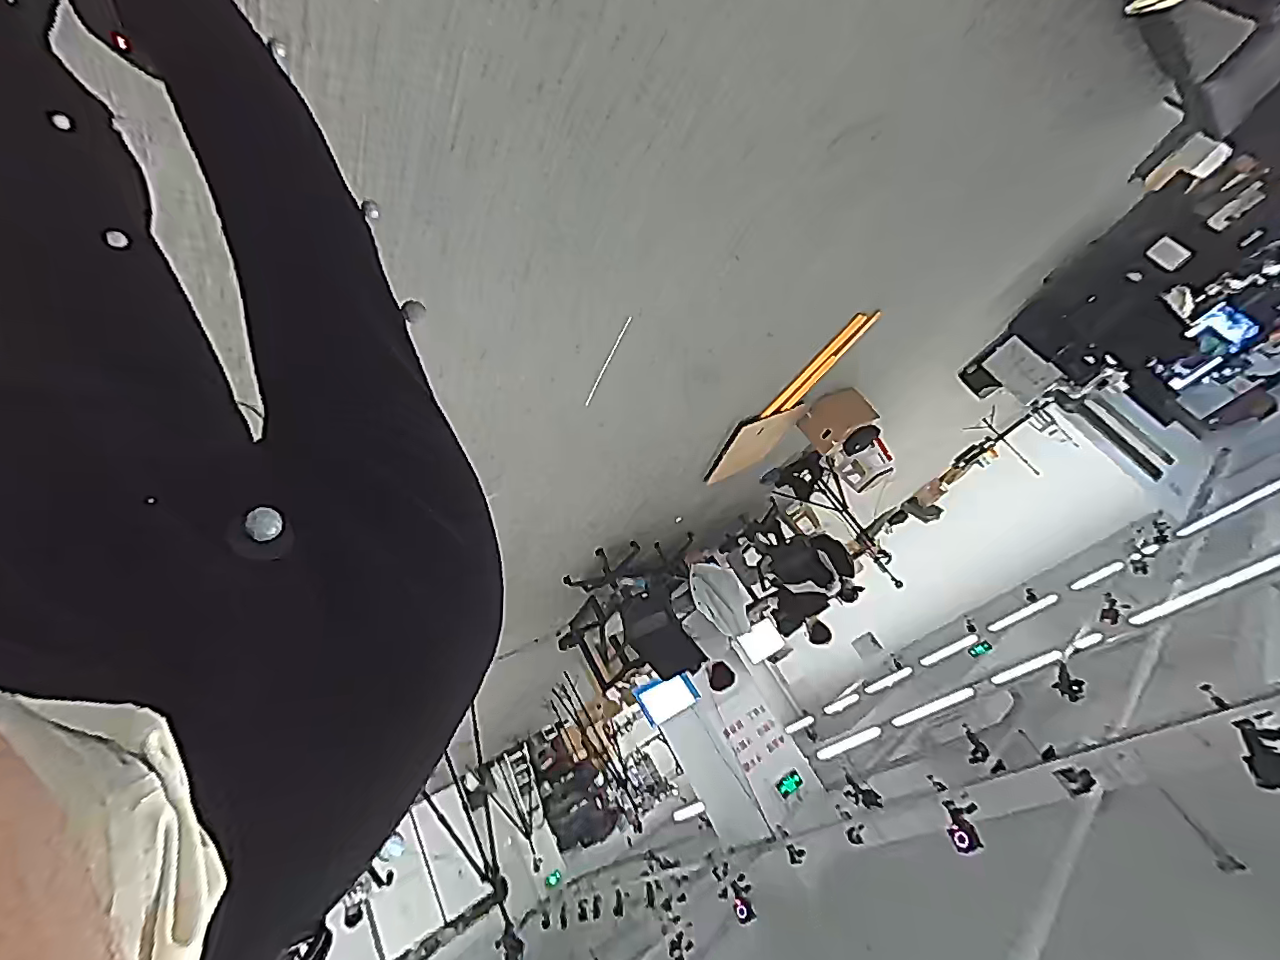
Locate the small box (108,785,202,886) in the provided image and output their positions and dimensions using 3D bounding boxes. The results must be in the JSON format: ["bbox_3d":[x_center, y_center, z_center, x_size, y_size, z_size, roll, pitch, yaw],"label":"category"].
[{"bbox_3d":[-1.363,0.995,1.523,0.168,0.176,0.179,-13,151,-39],"label":"small box"}]
